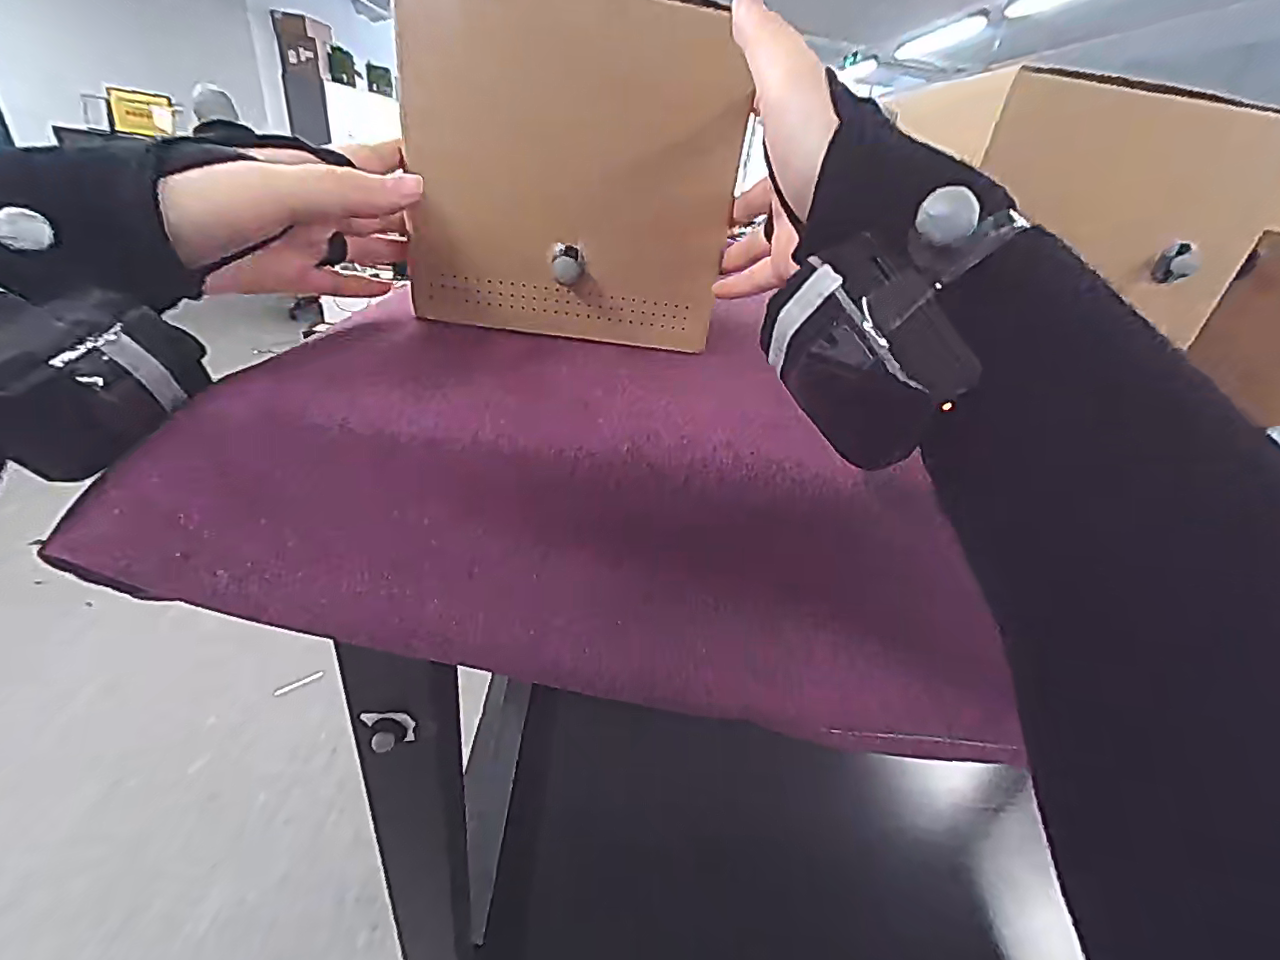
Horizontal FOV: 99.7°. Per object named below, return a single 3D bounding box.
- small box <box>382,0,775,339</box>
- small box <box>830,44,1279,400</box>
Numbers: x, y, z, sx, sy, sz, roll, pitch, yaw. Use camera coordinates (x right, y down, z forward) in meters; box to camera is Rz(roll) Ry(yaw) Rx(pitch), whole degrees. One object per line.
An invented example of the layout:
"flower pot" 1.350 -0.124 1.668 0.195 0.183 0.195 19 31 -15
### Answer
"small box" -0.040 -0.196 0.339 0.179 0.176 0.168 6 29 -7
"small box" 0.258 -0.165 0.368 0.179 0.176 0.168 6 30 -4
